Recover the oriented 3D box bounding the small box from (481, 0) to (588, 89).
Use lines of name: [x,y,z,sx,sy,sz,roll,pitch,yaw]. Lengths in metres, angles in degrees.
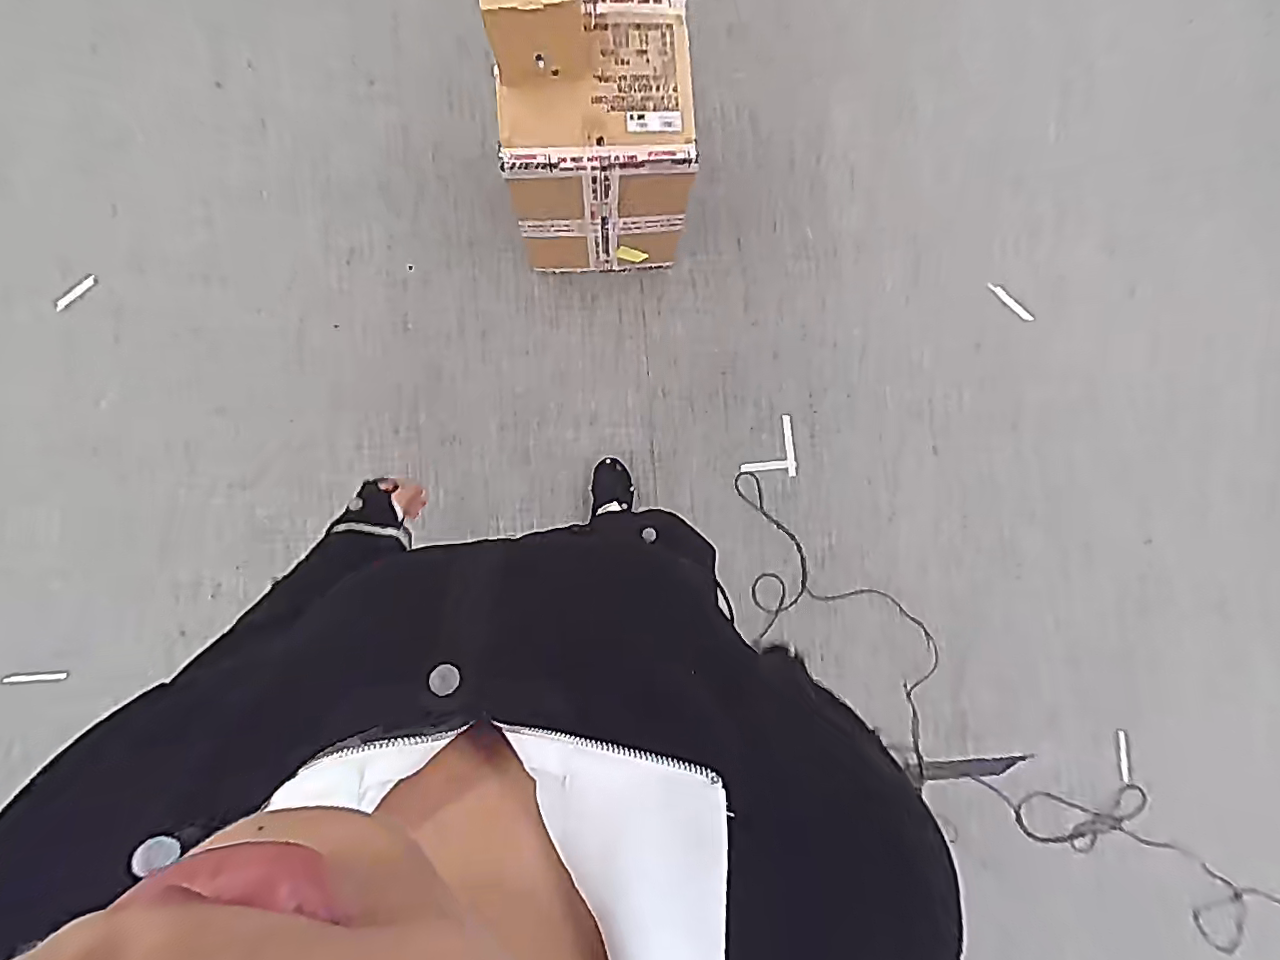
small box: [-0.188,-0.849,0.966,0.168,0.176,0.179,-7,90,-1]
